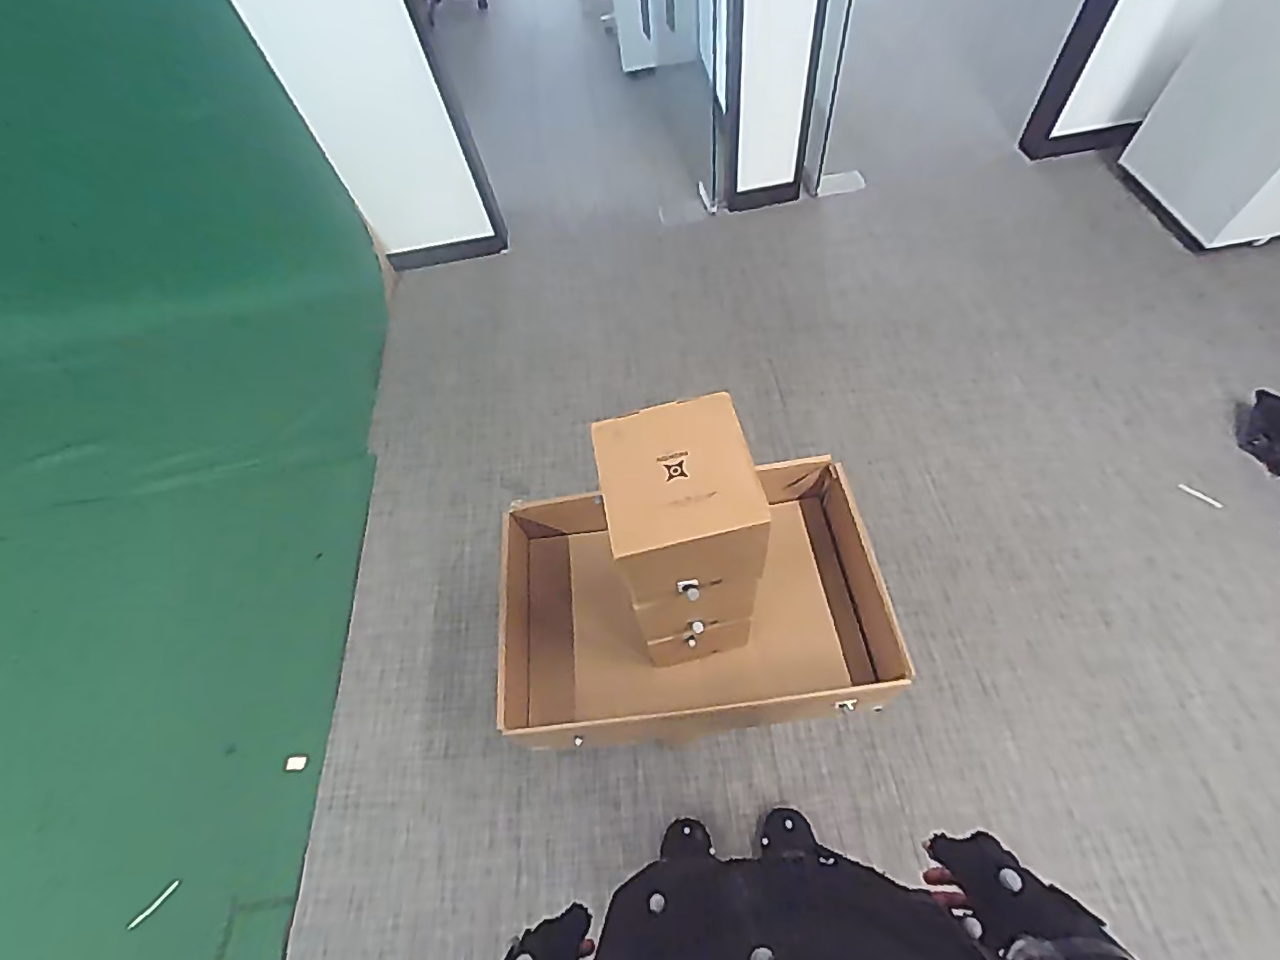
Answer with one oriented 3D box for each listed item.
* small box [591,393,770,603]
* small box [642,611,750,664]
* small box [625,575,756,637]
[{"bbox_3d":[0.047,0.028,0.653,0.168,0.176,0.179,-14,60,2],"label":"small box"},{"bbox_3d":[0.081,0.196,0.930,0.168,0.176,0.179,-15,58,1],"label":"small box"},{"bbox_3d":[0.061,0.110,0.792,0.168,0.176,0.179,-14,59,1],"label":"small box"}]
